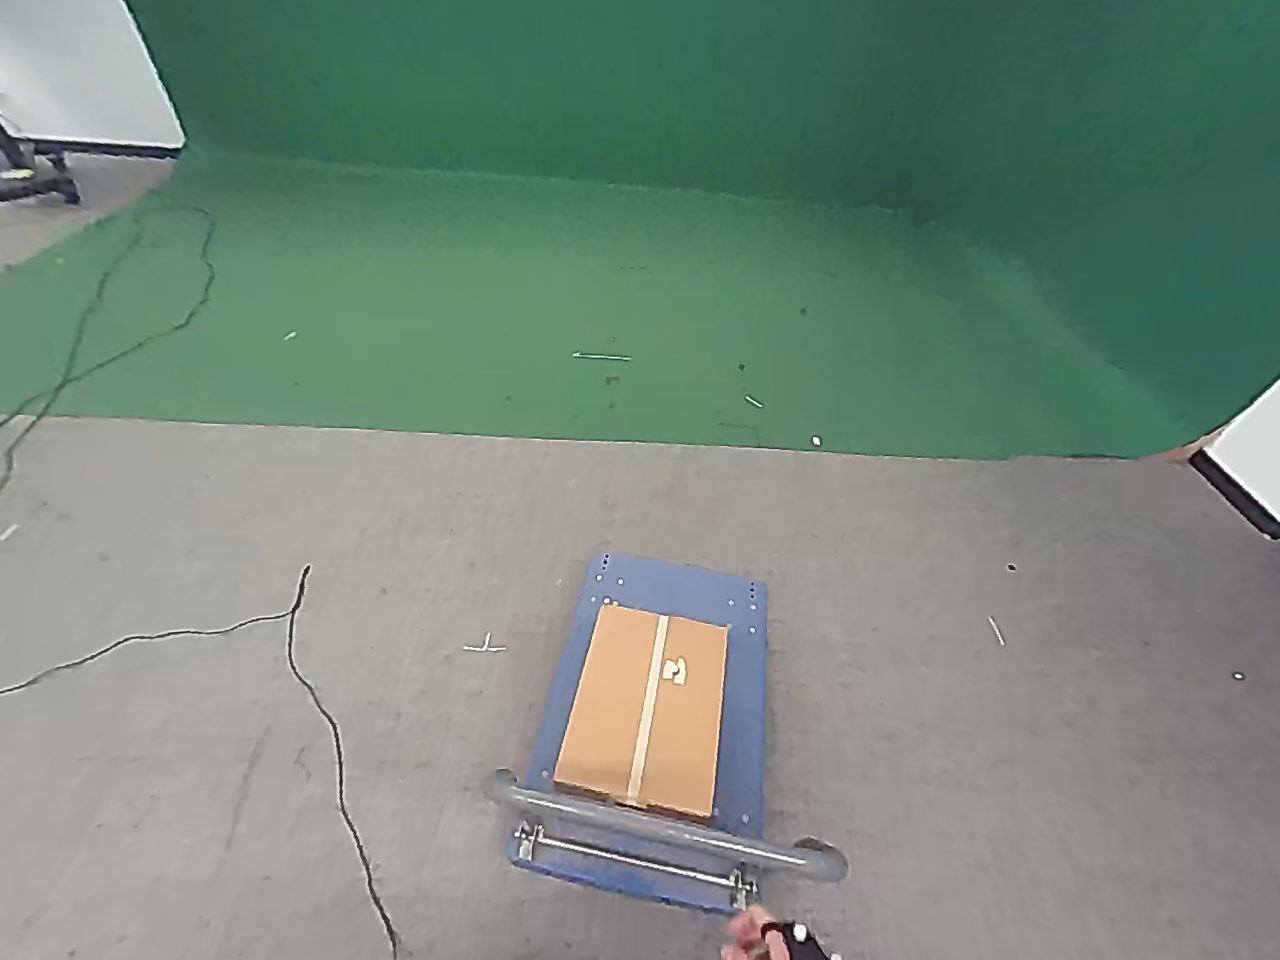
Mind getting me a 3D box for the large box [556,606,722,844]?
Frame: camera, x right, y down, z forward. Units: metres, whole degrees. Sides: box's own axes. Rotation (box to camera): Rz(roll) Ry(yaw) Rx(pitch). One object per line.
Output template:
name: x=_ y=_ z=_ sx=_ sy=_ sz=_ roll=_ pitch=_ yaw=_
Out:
large box: x=0.007 y=0.578 z=1.289 sx=0.320 sy=0.320 sz=0.408 roll=11 pitch=45 yaw=4
